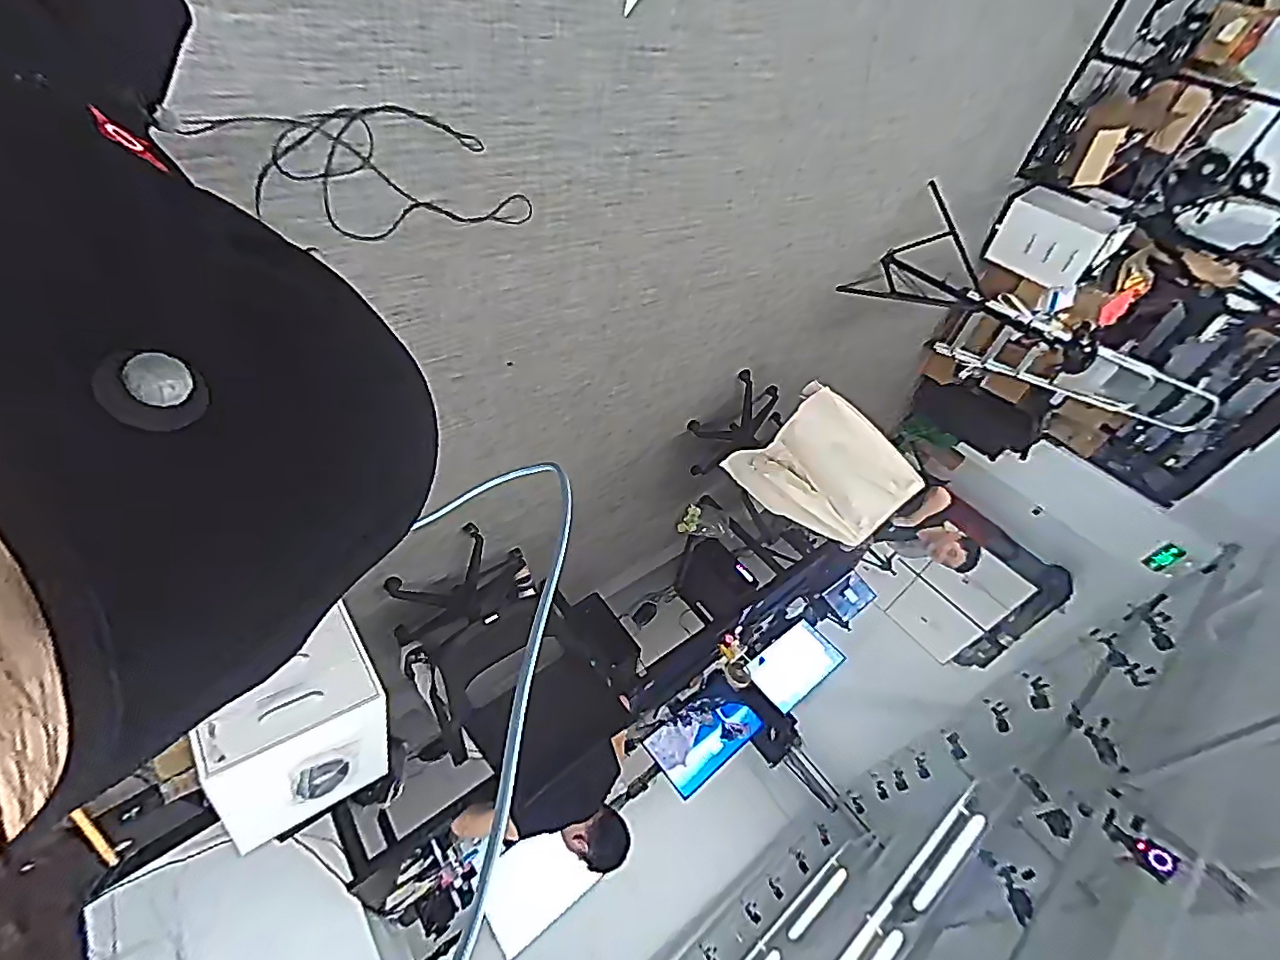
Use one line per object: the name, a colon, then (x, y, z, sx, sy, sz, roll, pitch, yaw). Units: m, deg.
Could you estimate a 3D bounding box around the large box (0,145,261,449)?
large box: (-0.952, -0.318, 0.898, 0.408, 0.320, 0.320, -27, 148, -28)
